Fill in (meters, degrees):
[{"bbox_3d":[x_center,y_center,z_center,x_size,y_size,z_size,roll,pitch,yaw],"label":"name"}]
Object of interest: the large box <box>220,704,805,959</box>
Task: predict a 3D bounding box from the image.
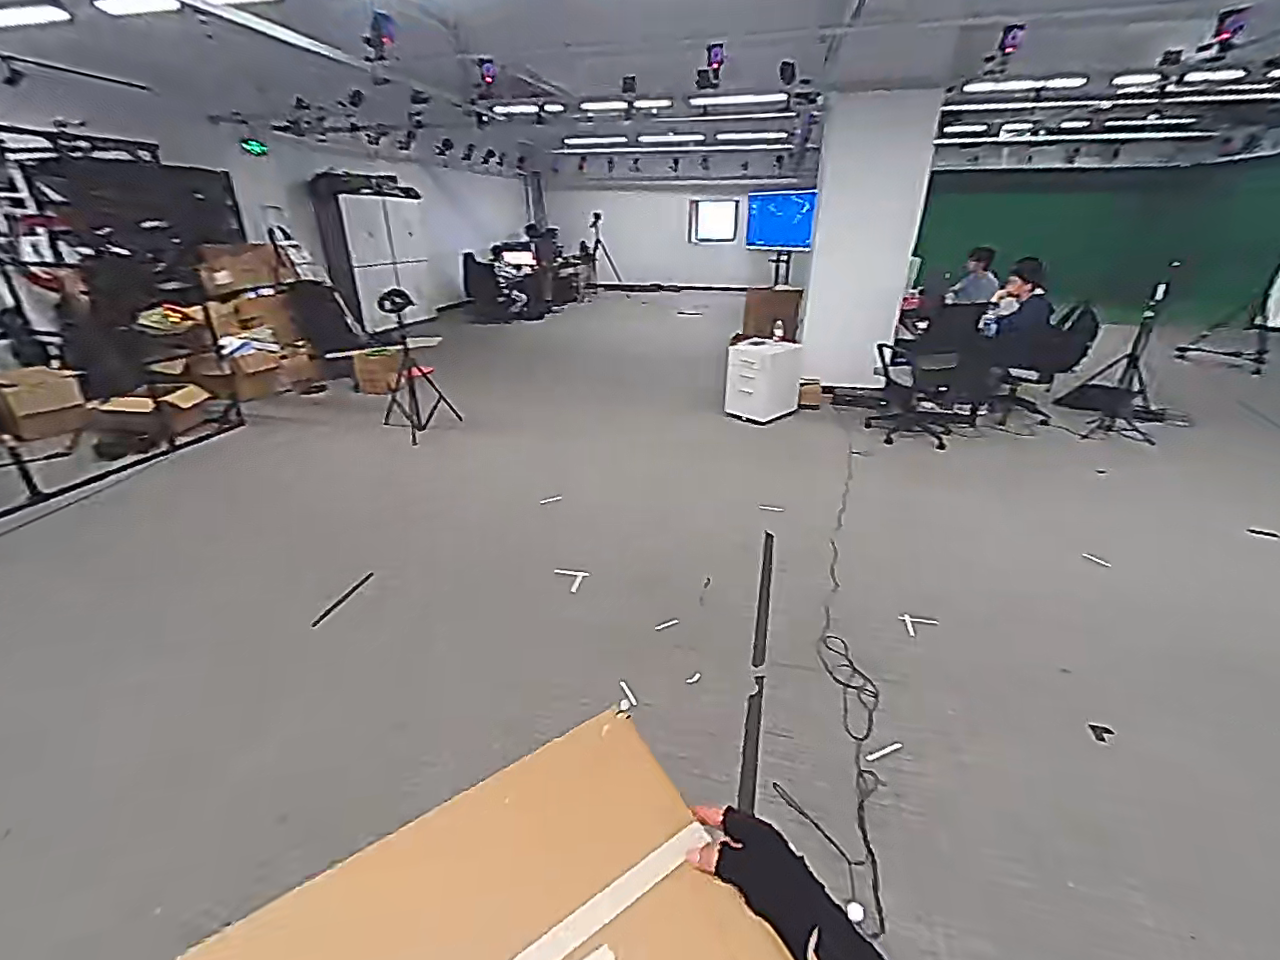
[{"bbox_3d":[-0.100,0.511,0.510,0.408,0.320,0.320,-19,39,-26],"label":"large box"}]
